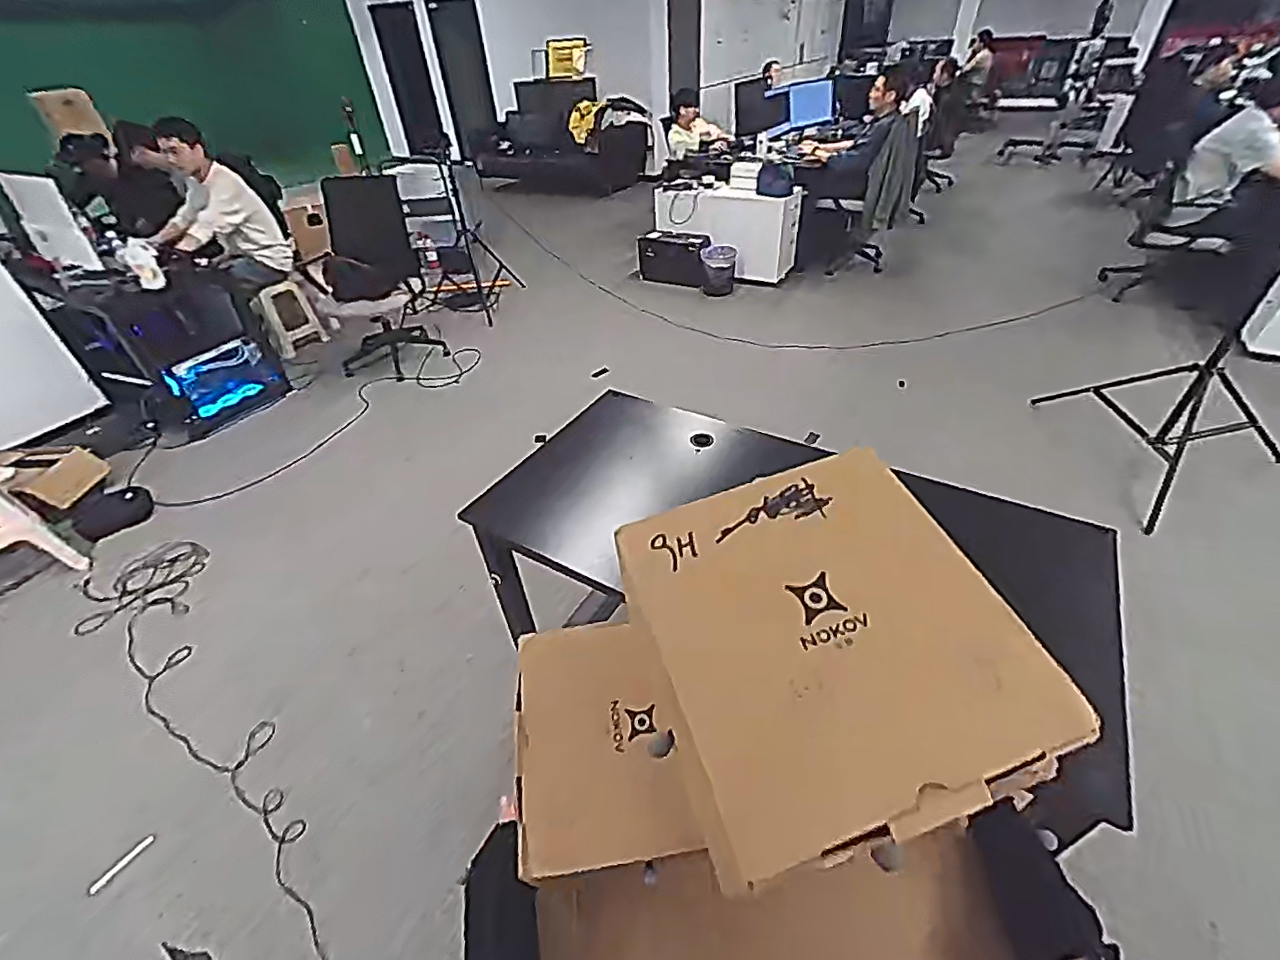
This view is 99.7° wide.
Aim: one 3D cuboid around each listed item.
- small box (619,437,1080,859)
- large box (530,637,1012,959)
[{"bbox_3d":[0.096,0.108,0.337,0.168,0.176,0.179,-17,53,-9],"label":"small box"},{"bbox_3d":[0.097,0.383,0.638,0.408,0.320,0.320,-7,51,-2],"label":"large box"}]
